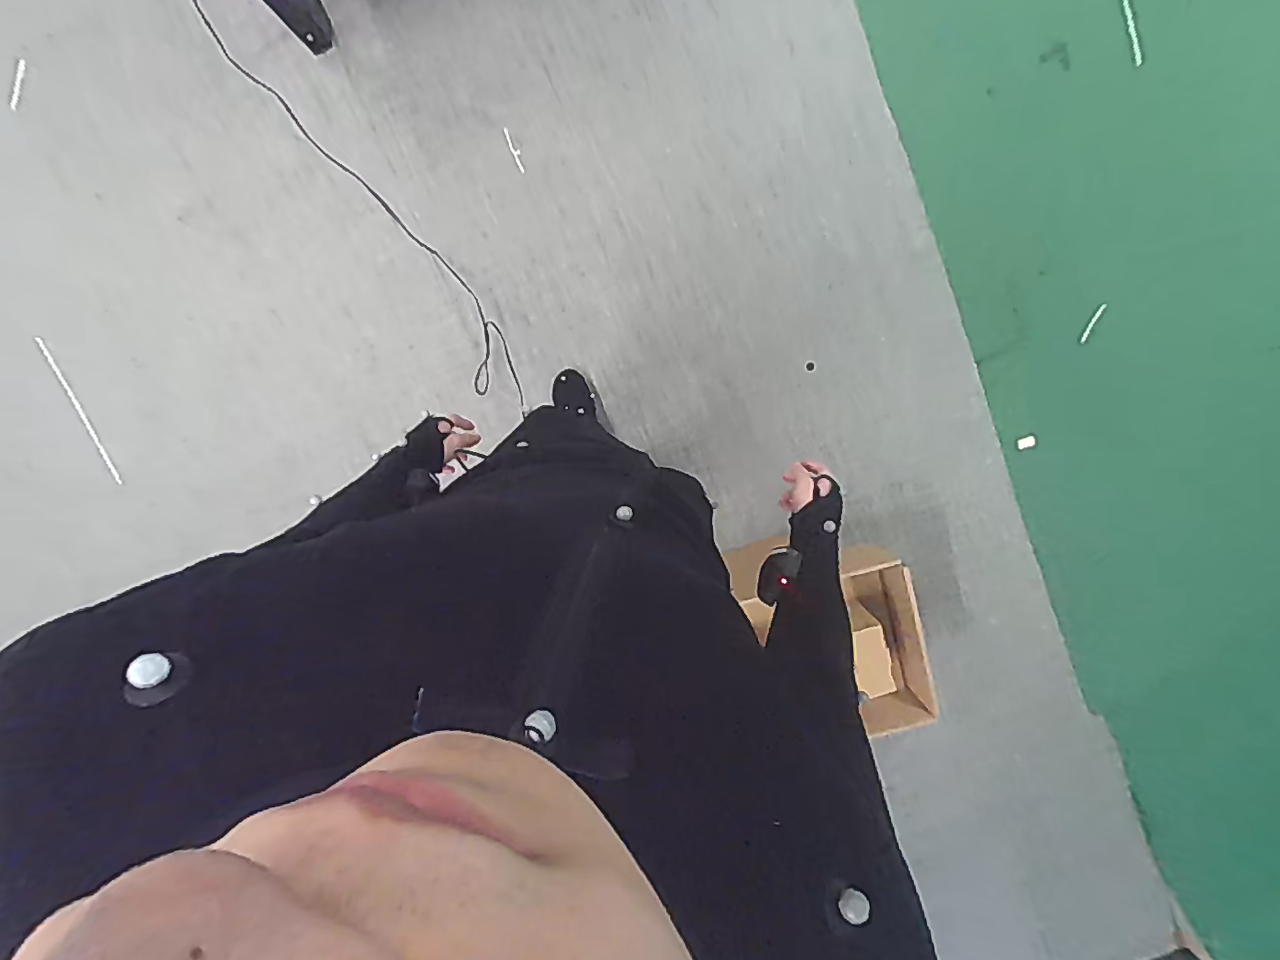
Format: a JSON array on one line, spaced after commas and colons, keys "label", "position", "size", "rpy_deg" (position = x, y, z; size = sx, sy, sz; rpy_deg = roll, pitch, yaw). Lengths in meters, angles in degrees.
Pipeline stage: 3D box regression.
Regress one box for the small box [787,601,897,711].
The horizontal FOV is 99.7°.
[{"label": "small box", "position": [0.462, 0.399, 1.256], "size": [0.179, 0.176, 0.168], "rpy_deg": [-16, 98, 3]}]
